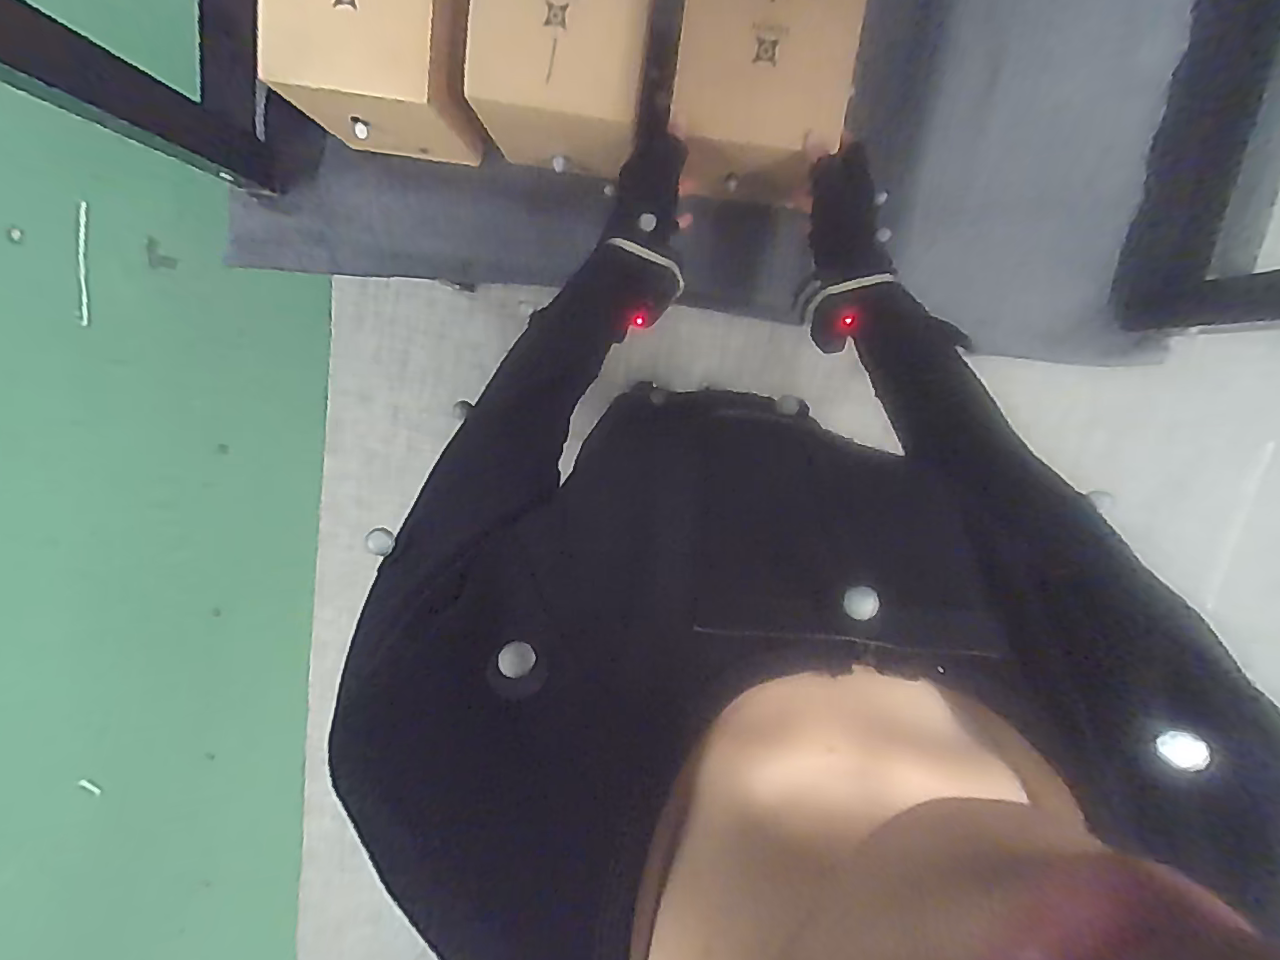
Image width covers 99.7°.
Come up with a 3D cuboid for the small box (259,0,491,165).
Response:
[{"bbox_3d":[-0.267,-0.465,0.578,0.168,0.176,0.179,8,100,0],"label":"small box"}]
